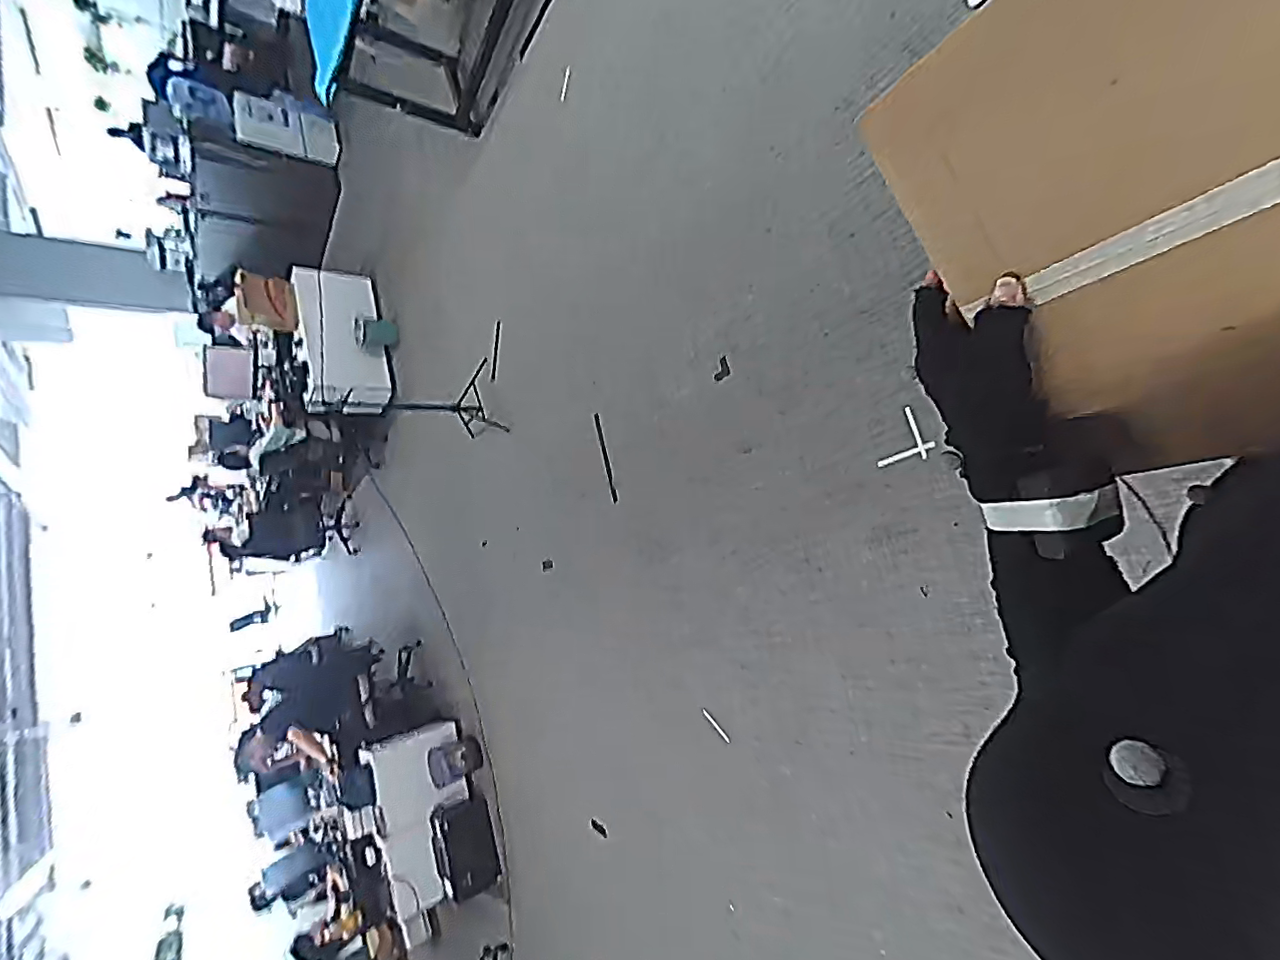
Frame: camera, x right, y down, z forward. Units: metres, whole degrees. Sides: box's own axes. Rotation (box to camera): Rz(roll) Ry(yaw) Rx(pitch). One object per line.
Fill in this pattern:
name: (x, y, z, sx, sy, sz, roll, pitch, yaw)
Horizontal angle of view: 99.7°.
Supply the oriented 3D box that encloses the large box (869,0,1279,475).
large box: (0.437, -0.253, 0.323, 0.320, 0.320, 0.408, 52, 146, -11)
